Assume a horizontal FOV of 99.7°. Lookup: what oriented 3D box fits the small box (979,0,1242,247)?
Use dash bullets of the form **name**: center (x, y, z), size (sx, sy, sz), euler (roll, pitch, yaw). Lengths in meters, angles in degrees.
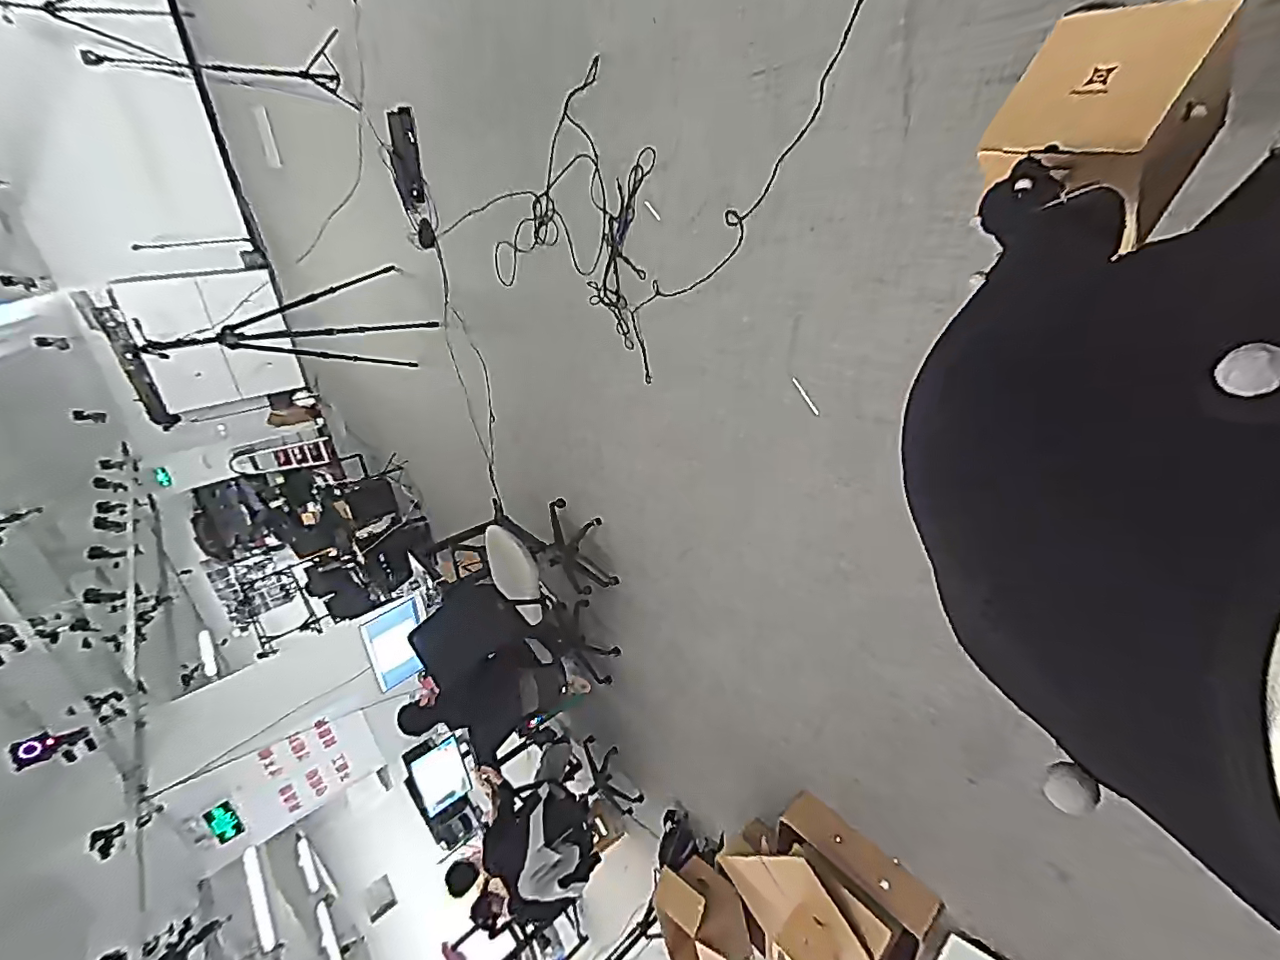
- **small box**: center (0.549, -0.417, 0.652), size (0.168, 0.176, 0.179), euler (37, 99, 43)
